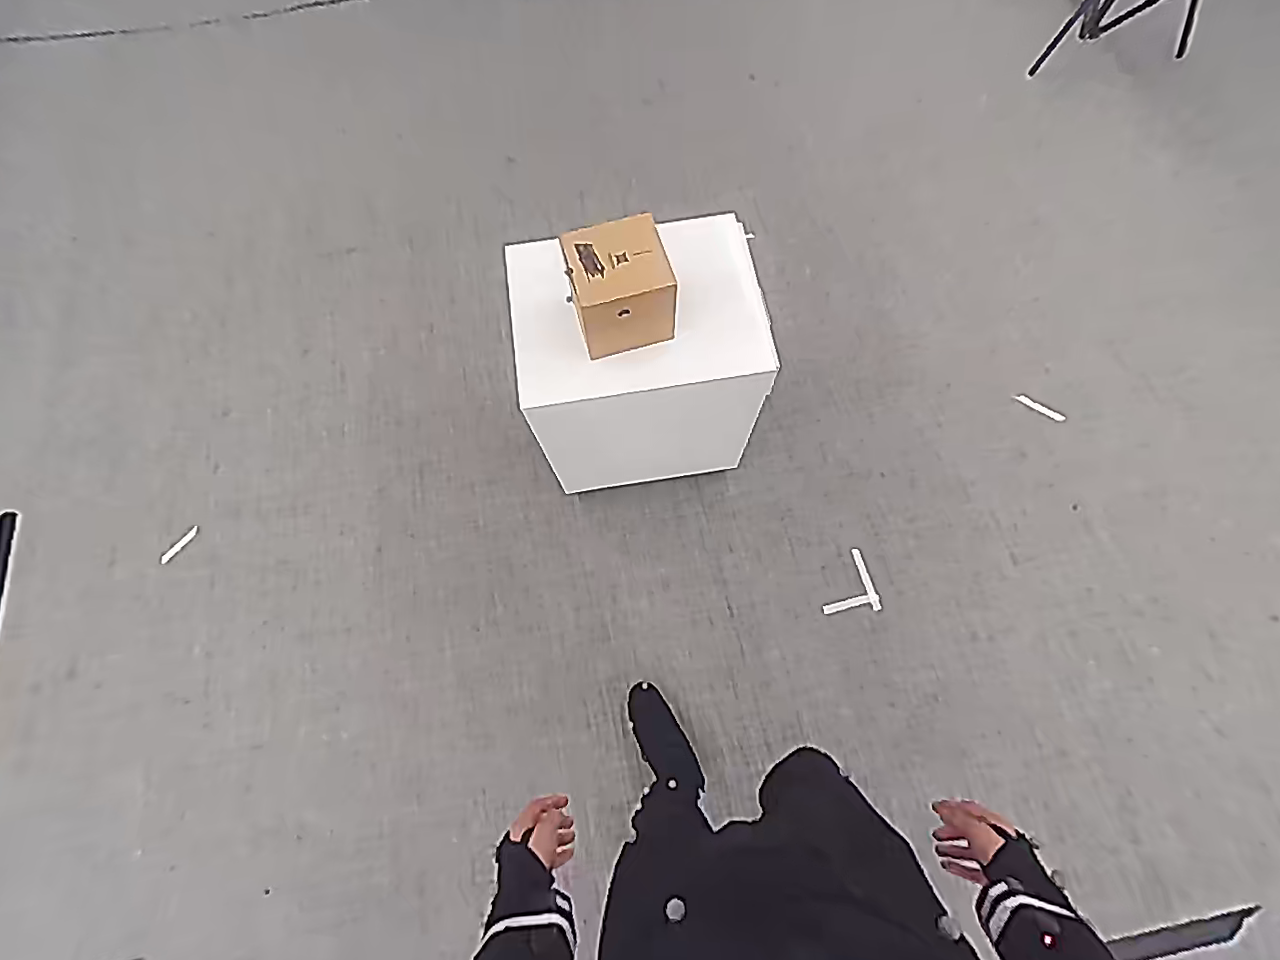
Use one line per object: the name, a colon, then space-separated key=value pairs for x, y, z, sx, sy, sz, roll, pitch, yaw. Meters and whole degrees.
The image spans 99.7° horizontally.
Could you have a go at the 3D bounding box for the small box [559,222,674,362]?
small box: x=-0.041 y=-0.349 z=1.032 sx=0.179 sy=0.176 sz=0.168 roll=-16 pitch=71 yaw=-5
